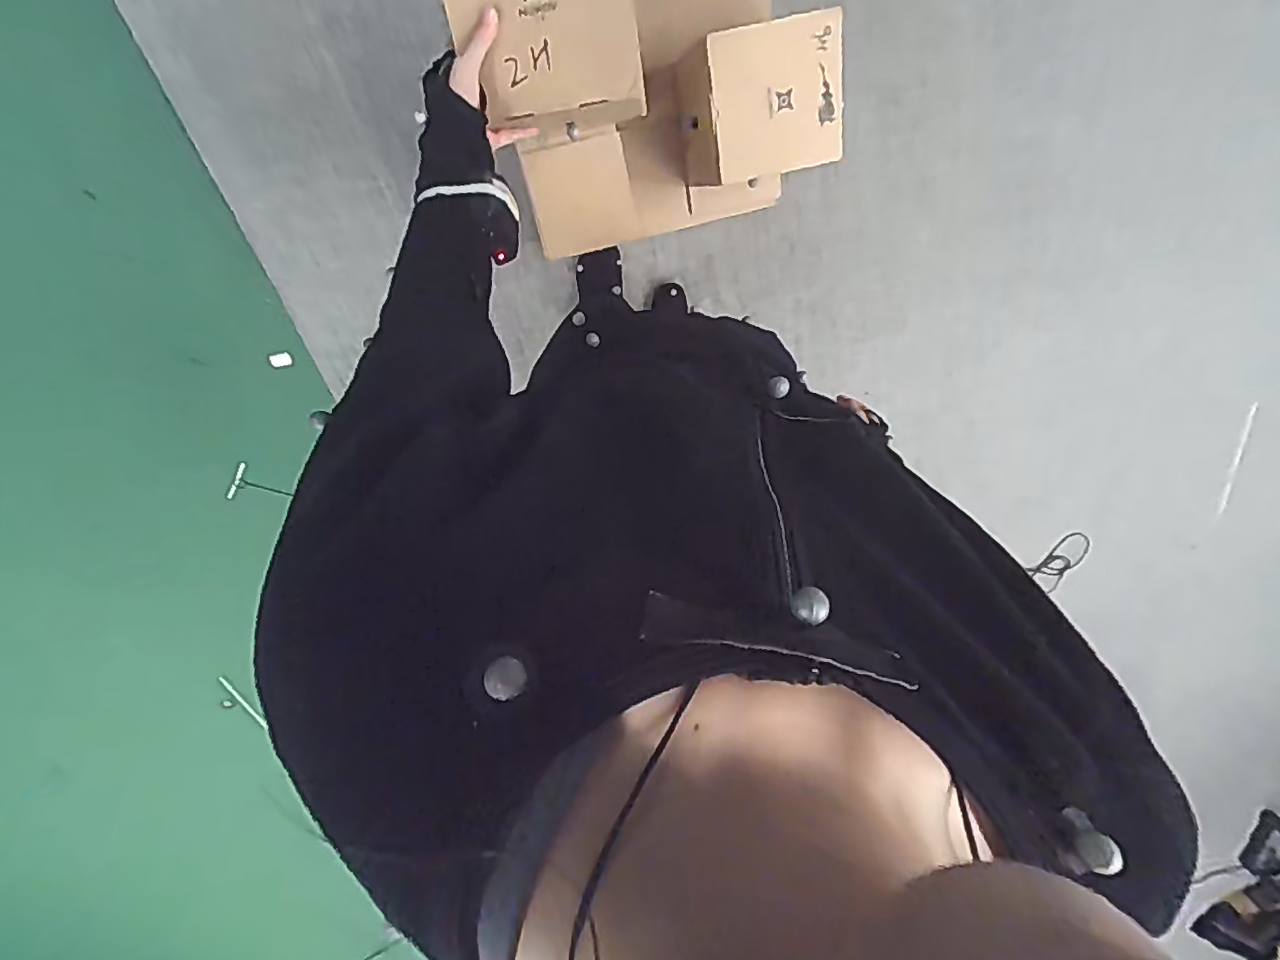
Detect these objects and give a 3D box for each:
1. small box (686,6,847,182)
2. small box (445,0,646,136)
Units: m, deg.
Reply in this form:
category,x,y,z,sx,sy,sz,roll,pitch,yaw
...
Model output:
category,x,y,z,sx,sy,sz,roll,pitch,yaw
small box,0.167,-0.523,0.756,0.179,0.176,0.168,-12,121,-2
small box,-0.088,-0.468,0.549,0.168,0.176,0.179,-5,119,8
